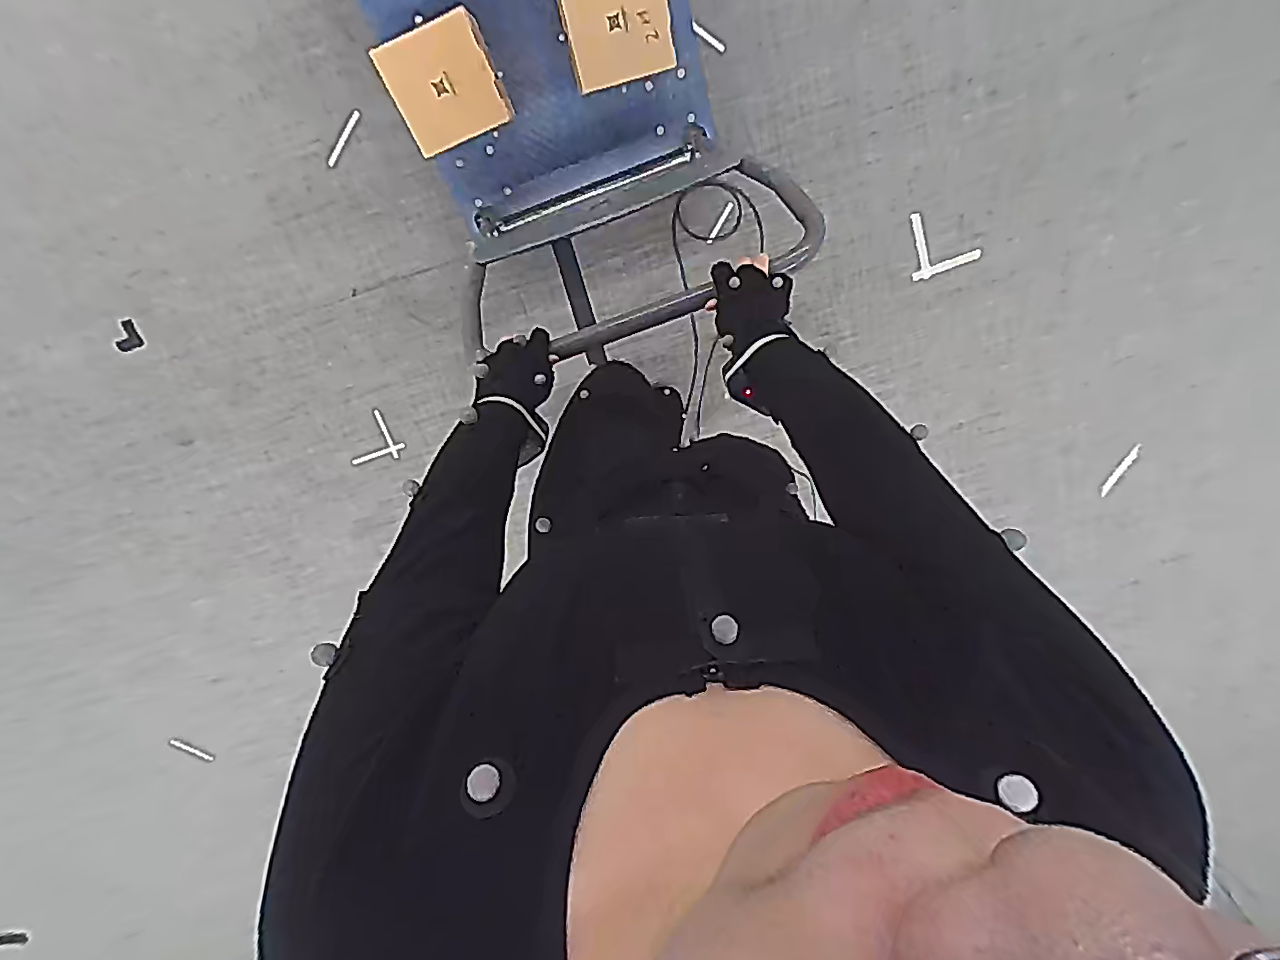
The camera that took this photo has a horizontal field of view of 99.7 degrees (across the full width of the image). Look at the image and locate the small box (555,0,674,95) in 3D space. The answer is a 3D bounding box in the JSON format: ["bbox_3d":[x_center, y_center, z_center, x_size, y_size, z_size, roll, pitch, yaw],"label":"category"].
[{"bbox_3d":[-0.050,-0.810,0.972,0.179,0.176,0.168,-16,126,1],"label":"small box"}]

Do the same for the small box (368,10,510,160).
[{"bbox_3d":[-0.352,-0.712,0.989,0.179,0.176,0.168,-23,125,4],"label":"small box"}]
